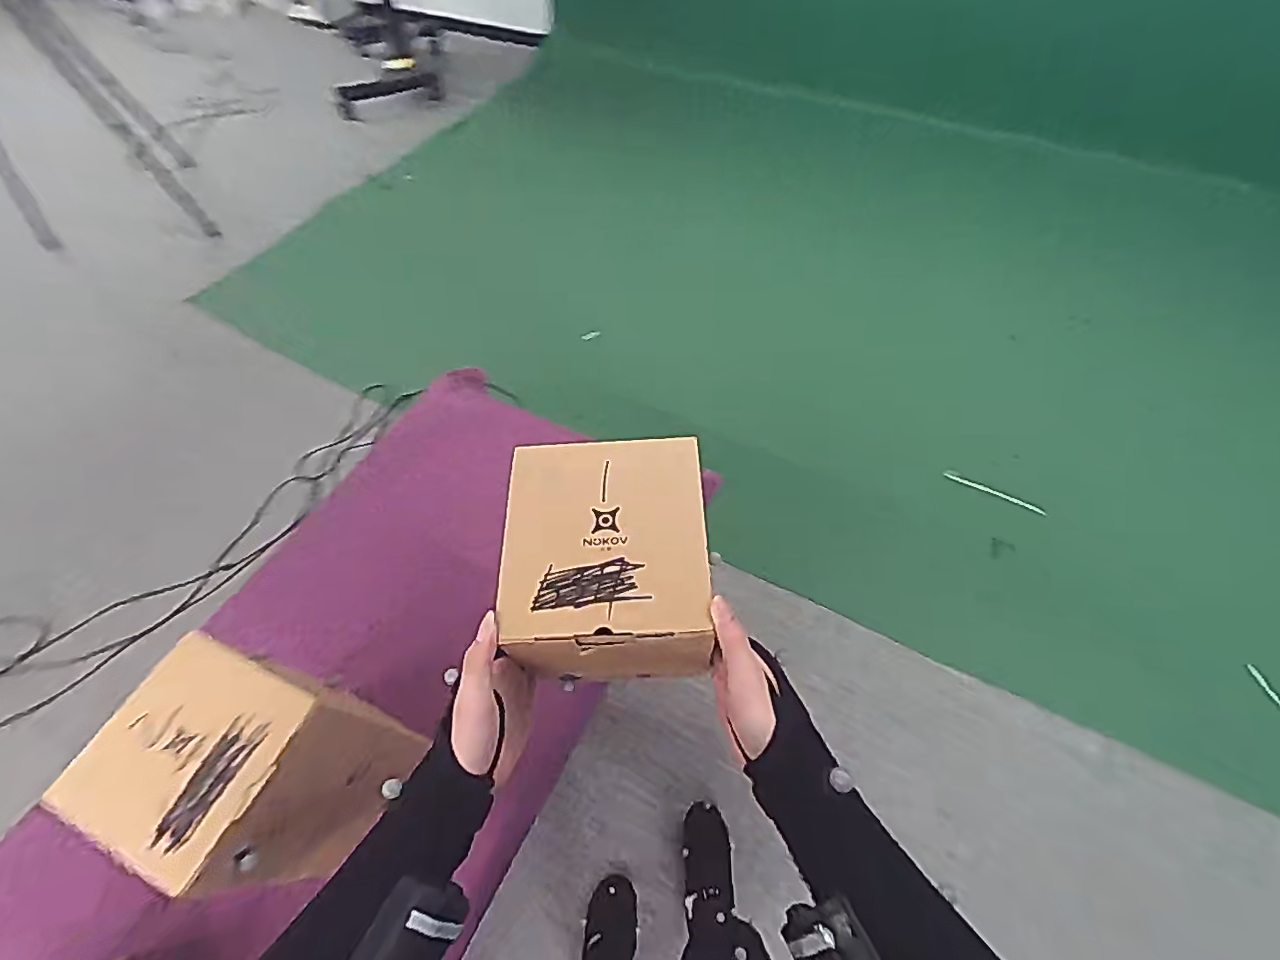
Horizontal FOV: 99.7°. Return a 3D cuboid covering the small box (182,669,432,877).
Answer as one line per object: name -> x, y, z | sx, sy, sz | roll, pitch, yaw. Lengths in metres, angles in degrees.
small box -> -0.407, 0.374, 0.695 | 0.179, 0.176, 0.168 | 21, 61, 15

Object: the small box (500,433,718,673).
small box -> -0.017, 0.077, 0.504 | 0.168, 0.176, 0.179 | -2, 58, 3
